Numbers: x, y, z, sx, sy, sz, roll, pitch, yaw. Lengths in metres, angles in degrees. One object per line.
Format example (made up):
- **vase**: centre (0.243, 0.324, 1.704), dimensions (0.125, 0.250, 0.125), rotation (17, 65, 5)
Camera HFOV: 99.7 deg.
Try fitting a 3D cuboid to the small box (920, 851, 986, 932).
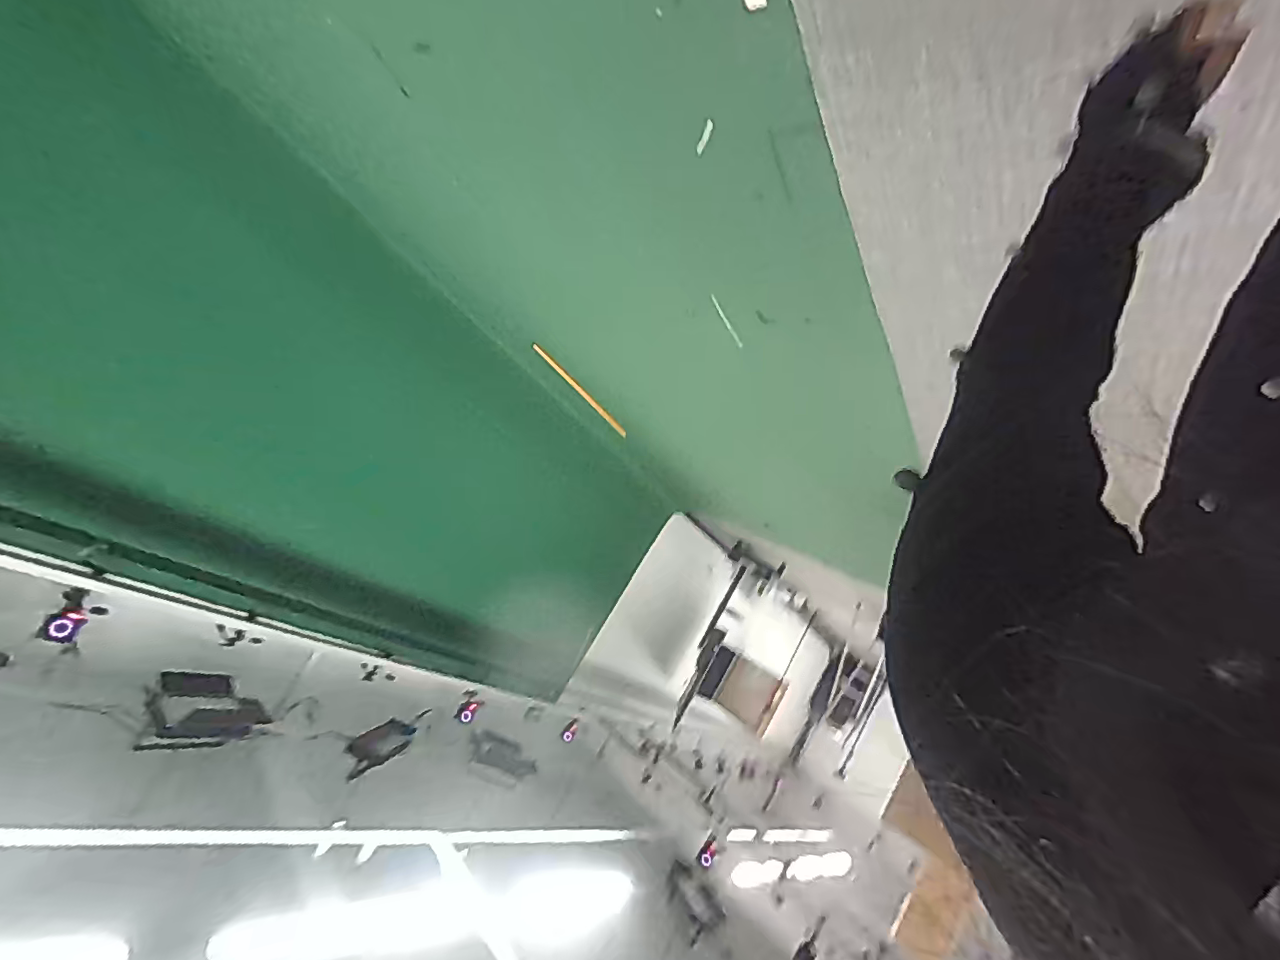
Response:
- **small box**: centre (1.175, 1.538, 2.033), dimensions (0.168, 0.176, 0.179), rotation (26, 167, 35)
